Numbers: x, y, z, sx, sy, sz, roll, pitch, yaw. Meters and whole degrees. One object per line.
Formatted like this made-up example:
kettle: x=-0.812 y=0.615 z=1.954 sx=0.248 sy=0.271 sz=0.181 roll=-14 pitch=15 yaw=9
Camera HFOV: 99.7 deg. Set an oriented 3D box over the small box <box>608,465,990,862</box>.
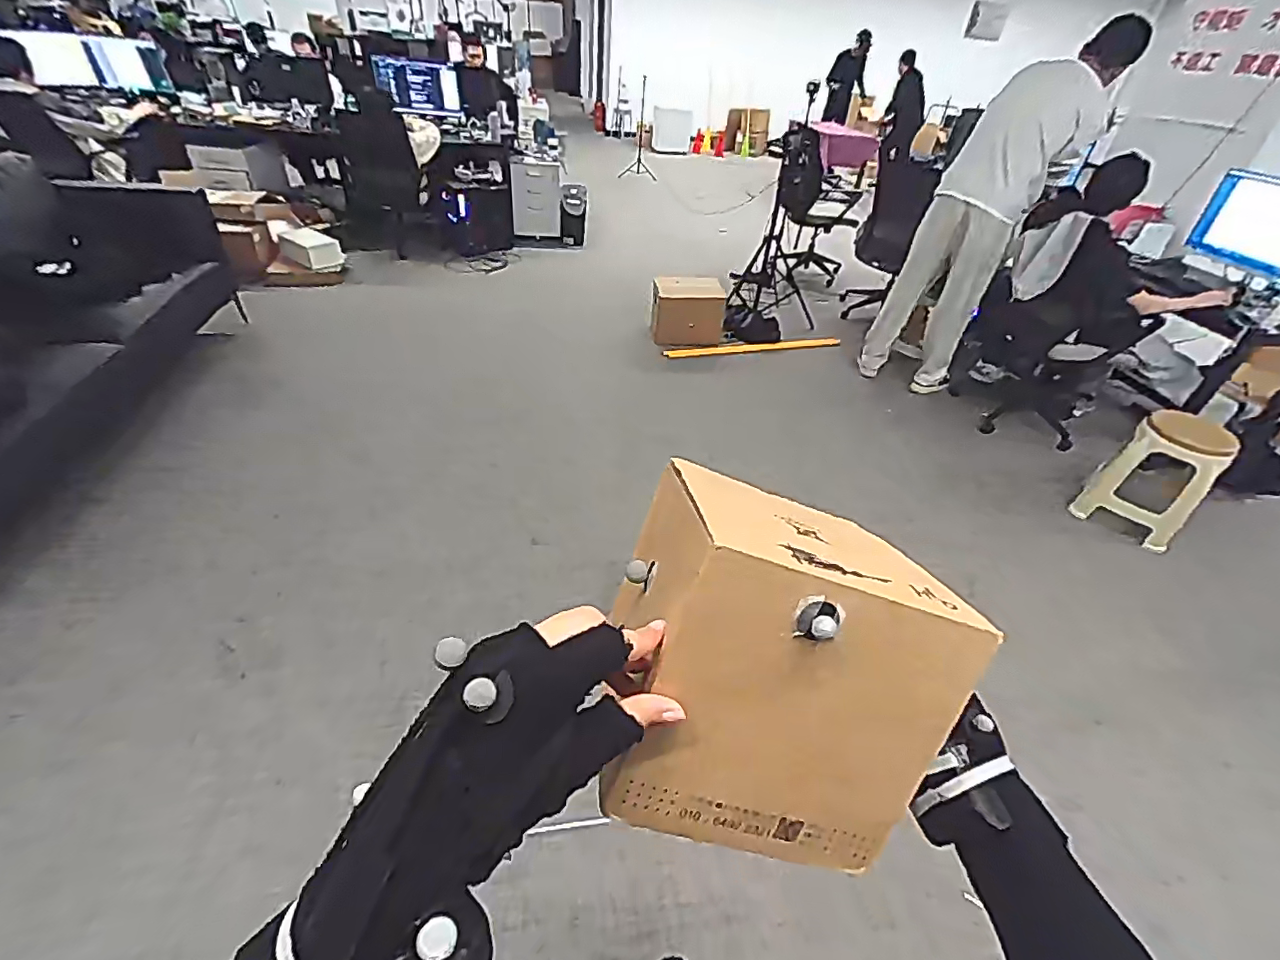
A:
small box: x=0.080 y=0.109 z=0.376 sx=0.168 sy=0.176 sz=0.179 roll=18 pitch=13 yaw=-8
